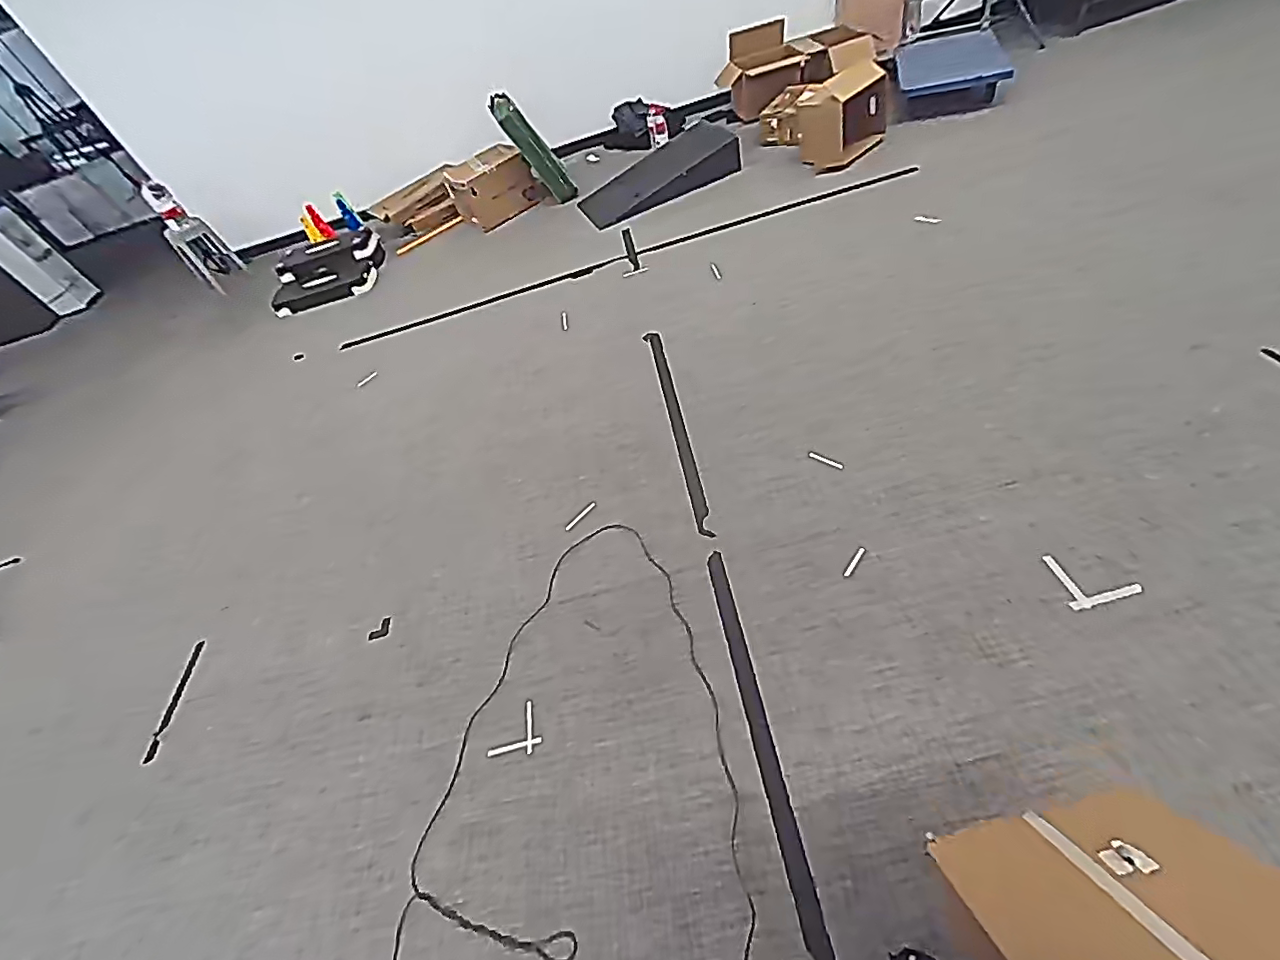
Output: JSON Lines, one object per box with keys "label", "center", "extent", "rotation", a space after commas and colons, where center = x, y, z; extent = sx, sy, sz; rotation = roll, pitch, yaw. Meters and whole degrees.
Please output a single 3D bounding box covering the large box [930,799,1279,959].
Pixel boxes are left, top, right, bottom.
{"label": "large box", "center": [0.616, 0.646, 0.603], "extent": [0.320, 0.408, 0.320], "rotation": [-18, 83, 4]}
